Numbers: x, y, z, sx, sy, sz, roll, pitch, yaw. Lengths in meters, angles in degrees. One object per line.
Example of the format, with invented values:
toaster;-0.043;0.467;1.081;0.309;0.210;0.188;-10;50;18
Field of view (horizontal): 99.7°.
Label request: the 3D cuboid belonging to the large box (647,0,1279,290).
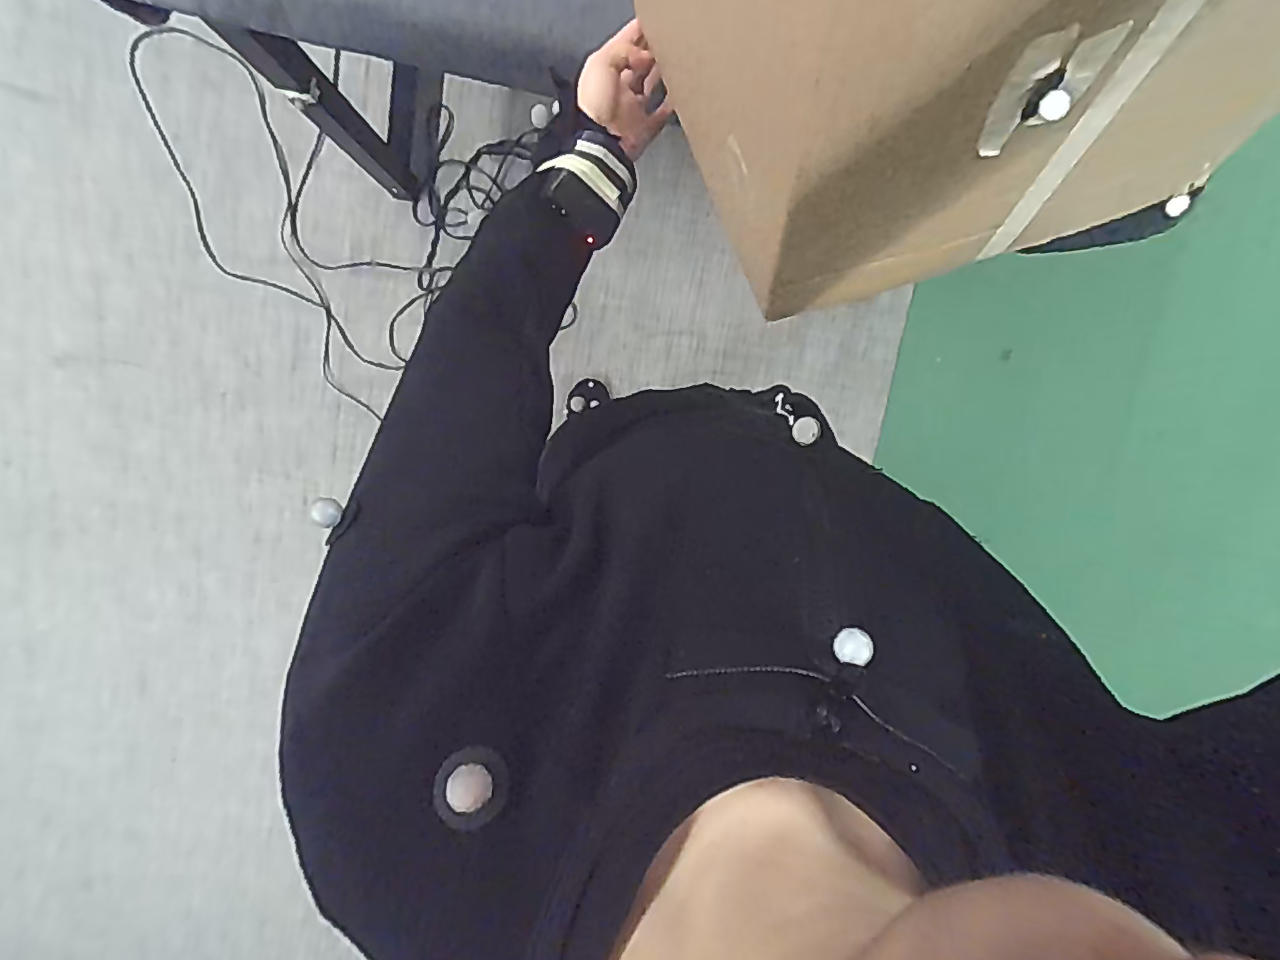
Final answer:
large box;0.173;-0.369;0.233;0.320;0.408;0.320;-18;75;1
